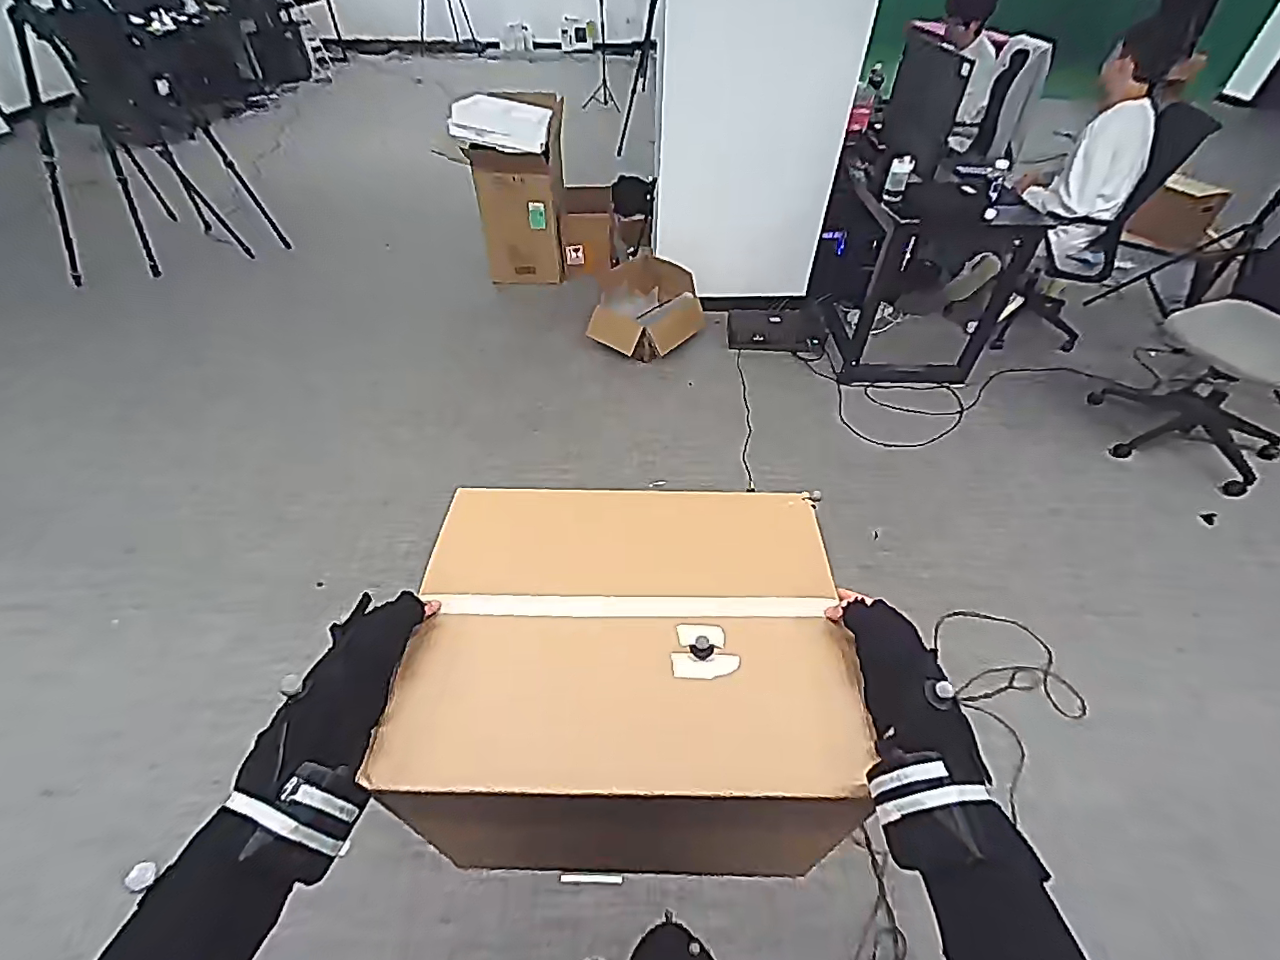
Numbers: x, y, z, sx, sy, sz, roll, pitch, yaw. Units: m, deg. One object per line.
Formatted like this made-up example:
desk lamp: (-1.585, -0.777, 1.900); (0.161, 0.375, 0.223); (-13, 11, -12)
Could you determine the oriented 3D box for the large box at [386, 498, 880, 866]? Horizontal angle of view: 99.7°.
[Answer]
large box: (-0.007, 0.235, 0.635); (0.408, 0.320, 0.320); (1, 45, 1)
